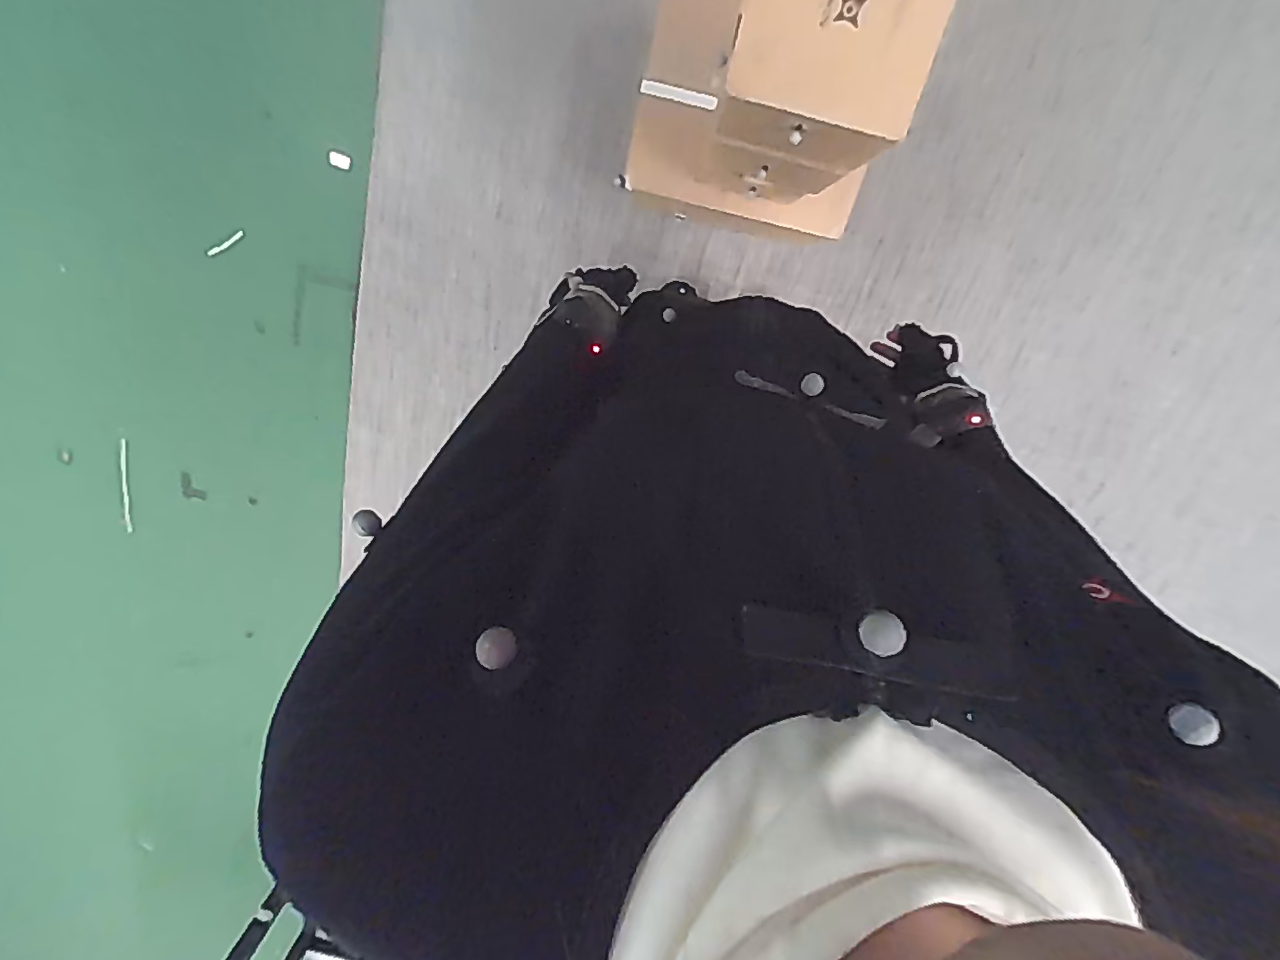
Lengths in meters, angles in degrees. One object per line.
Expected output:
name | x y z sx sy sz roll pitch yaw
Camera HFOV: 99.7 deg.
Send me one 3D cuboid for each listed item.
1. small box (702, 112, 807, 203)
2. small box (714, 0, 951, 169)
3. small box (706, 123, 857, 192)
small box | 0.197 -0.548 0.844 0.168 0.176 0.179 13 112 1
small box | 0.179 -0.431 0.540 0.179 0.176 0.168 14 112 -1
small box | 0.190 -0.482 0.694 0.179 0.176 0.168 12 112 0
